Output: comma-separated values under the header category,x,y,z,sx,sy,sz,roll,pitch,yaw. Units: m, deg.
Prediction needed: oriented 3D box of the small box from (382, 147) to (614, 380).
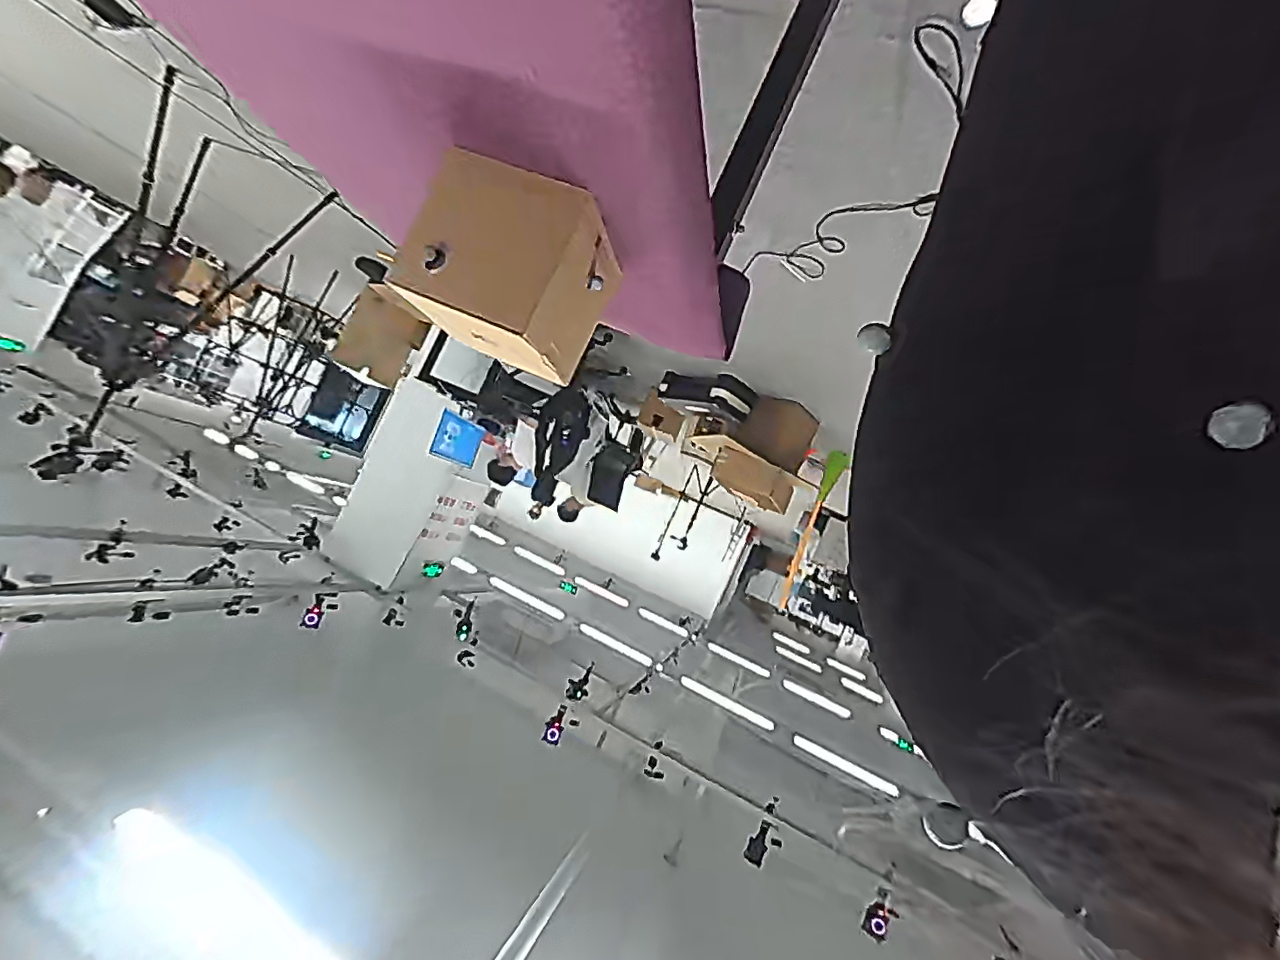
category,x,y,z,sx,sy,sz,roll,pitch,yaw
small box,-0.152,-0.247,0.634,0.179,0.176,0.168,23,176,9
